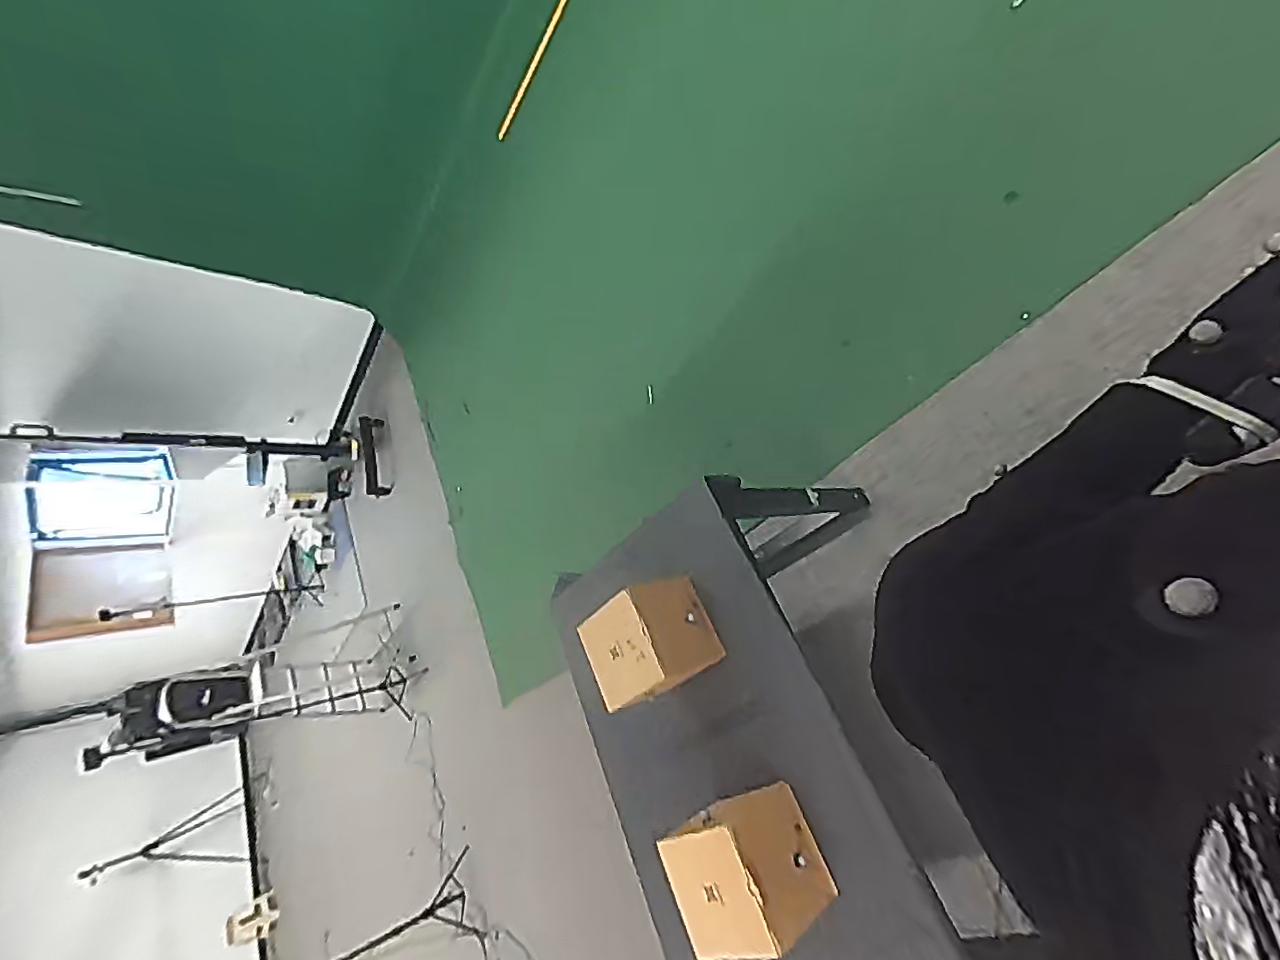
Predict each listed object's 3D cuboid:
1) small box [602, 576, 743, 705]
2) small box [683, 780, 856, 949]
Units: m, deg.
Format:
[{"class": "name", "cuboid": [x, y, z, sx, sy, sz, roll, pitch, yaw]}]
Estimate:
[{"class": "small box", "cuboid": [0.061, 0.300, 1.027, 0.179, 0.176, 0.168, -47, 58, 37]}, {"class": "small box", "cuboid": [0.206, 0.611, 0.869, 0.179, 0.176, 0.168, -45, 58, 38]}]
